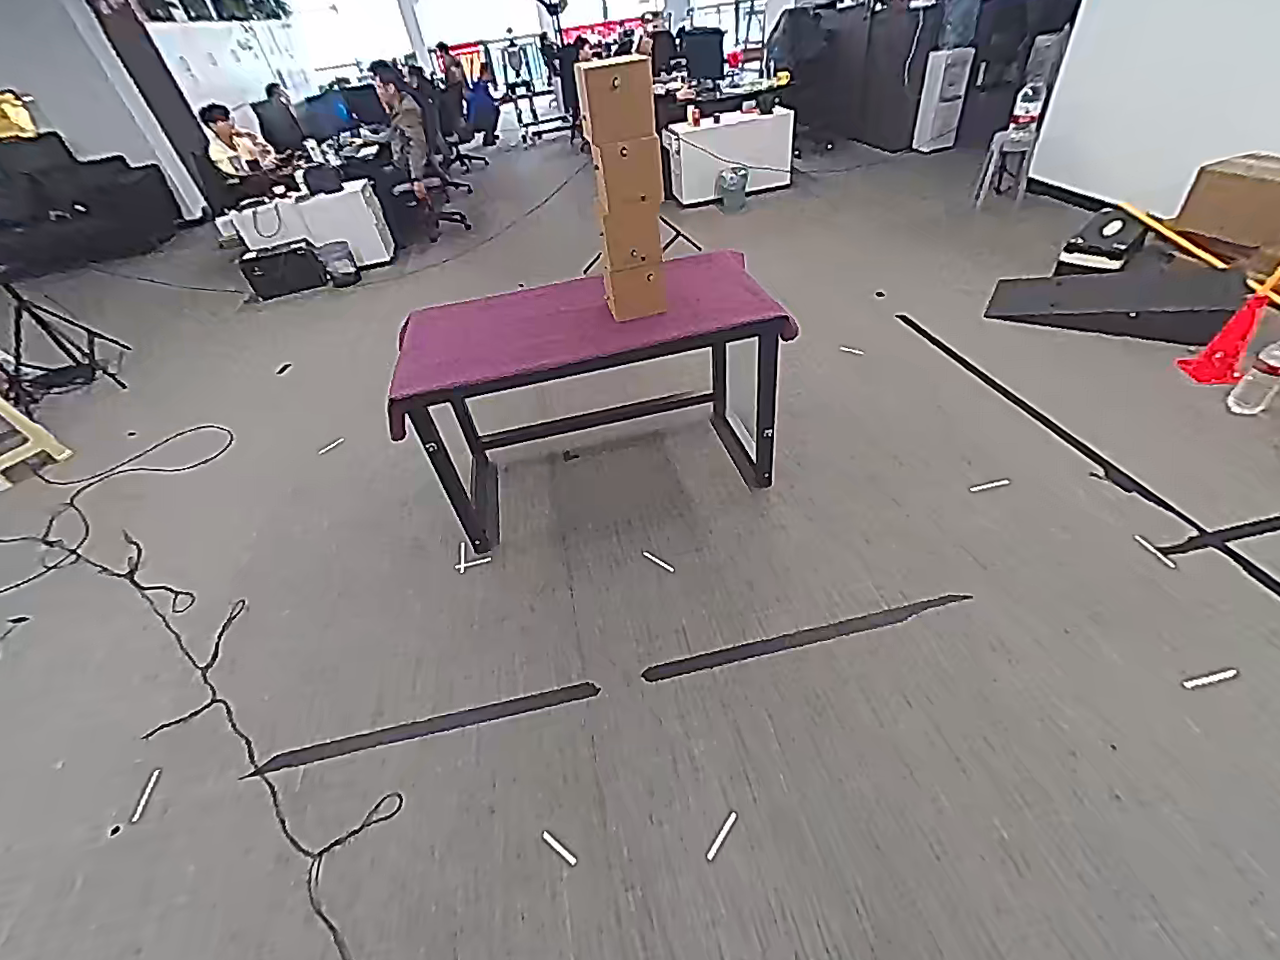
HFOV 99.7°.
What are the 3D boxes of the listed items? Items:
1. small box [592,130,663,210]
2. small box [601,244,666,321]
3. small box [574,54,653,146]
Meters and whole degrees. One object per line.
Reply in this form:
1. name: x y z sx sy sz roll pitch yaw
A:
1. small box: -0.038 -0.888 1.542 0.168 0.176 0.179 -14 42 -5
2. small box: -0.017 -0.642 1.759 0.179 0.176 0.168 -14 41 -5
3. small box: -0.067 -1.014 1.442 0.179 0.176 0.168 -14 42 -6
